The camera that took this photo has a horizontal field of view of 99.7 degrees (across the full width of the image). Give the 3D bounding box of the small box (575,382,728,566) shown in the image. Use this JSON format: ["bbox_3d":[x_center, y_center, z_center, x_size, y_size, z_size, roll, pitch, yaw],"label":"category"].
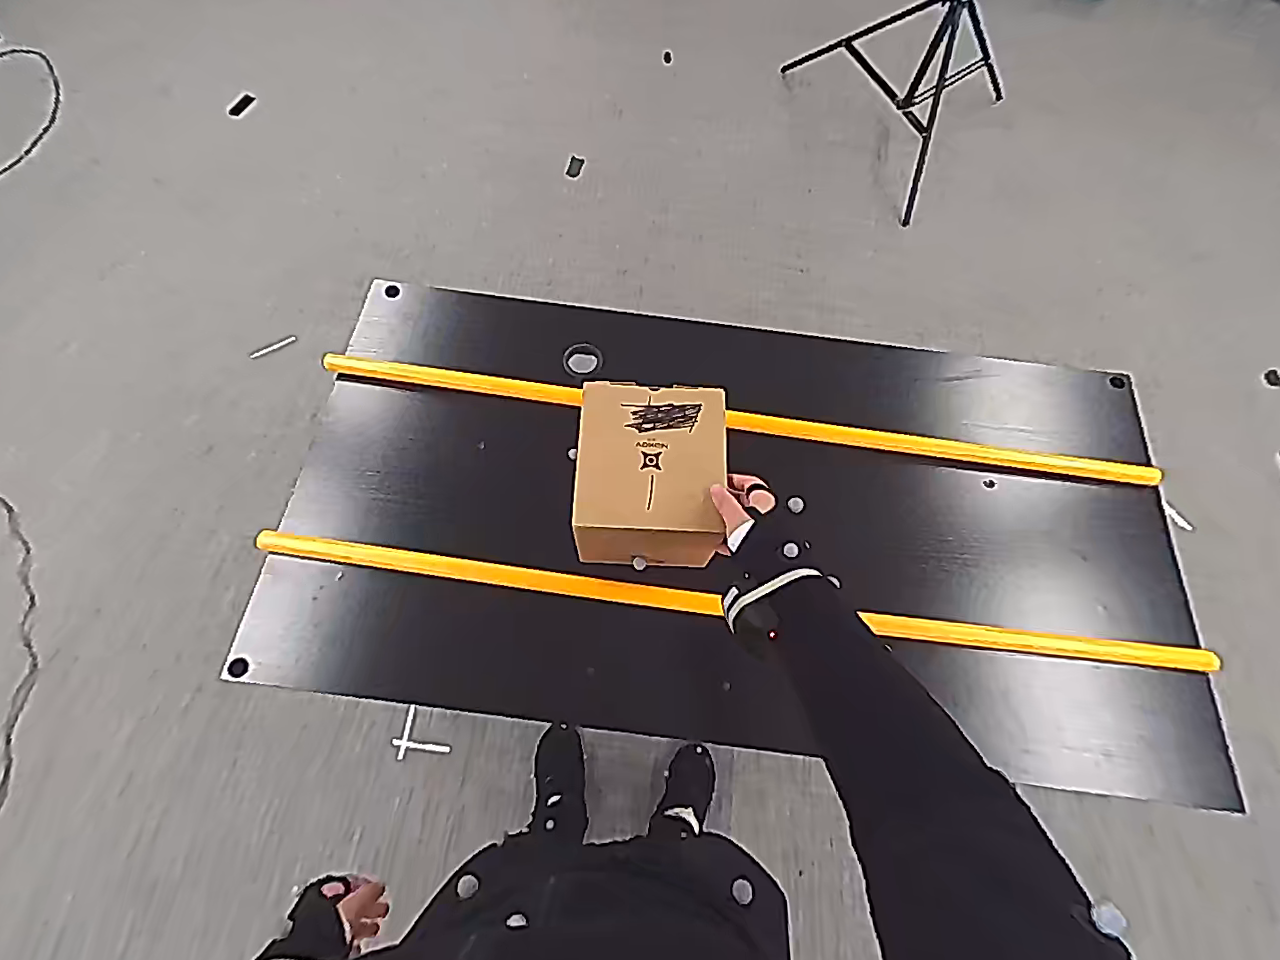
[{"bbox_3d":[0.012,-0.001,0.675,0.168,0.176,0.179,3,69,-1],"label":"small box"}]
